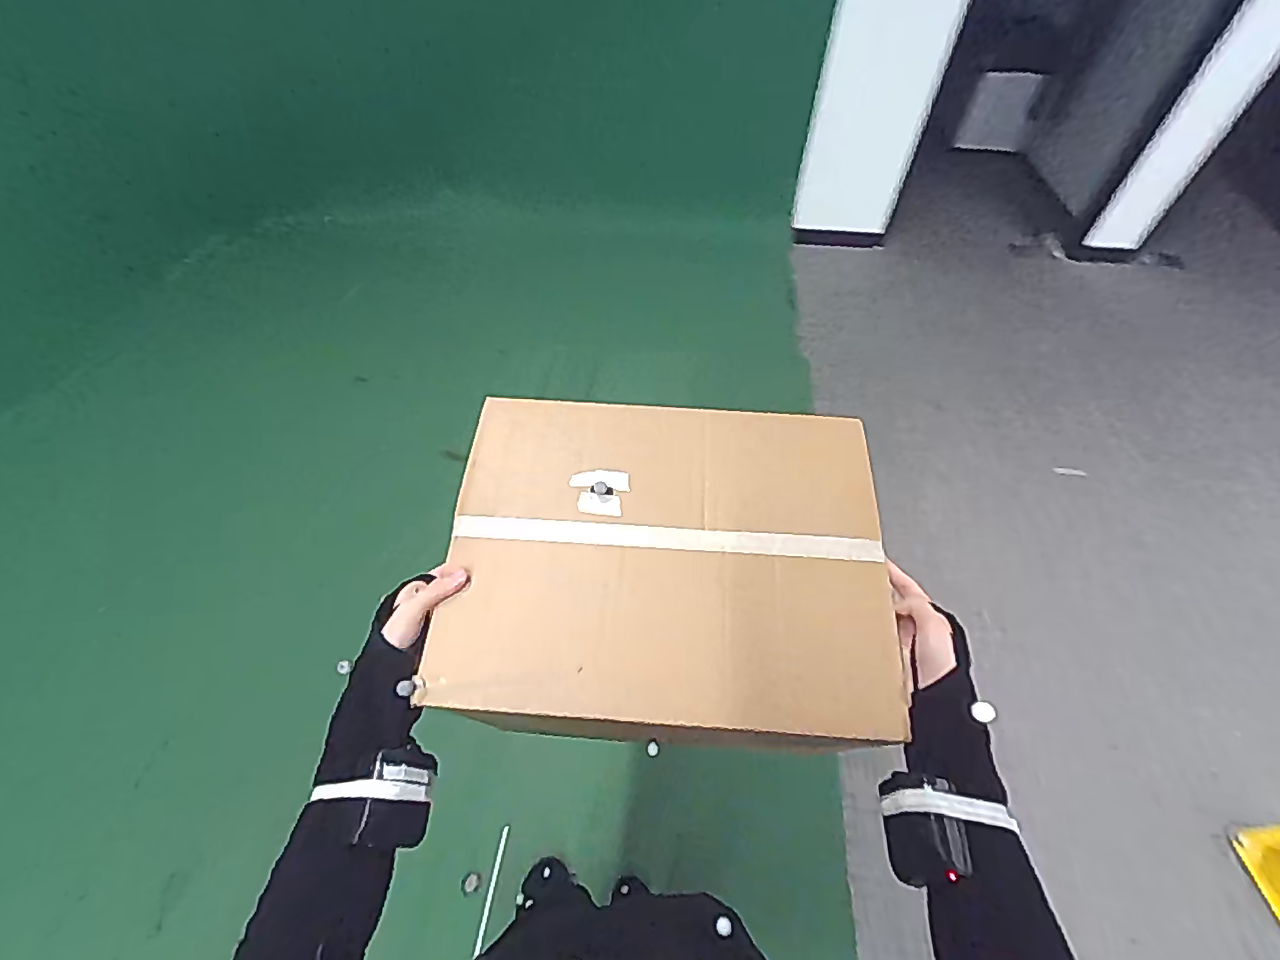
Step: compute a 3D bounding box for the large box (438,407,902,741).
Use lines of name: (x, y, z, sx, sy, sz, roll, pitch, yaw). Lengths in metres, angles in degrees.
large box: (0.037, 0.132, 0.657, 0.408, 0.320, 0.320, 4, 61, 4)
